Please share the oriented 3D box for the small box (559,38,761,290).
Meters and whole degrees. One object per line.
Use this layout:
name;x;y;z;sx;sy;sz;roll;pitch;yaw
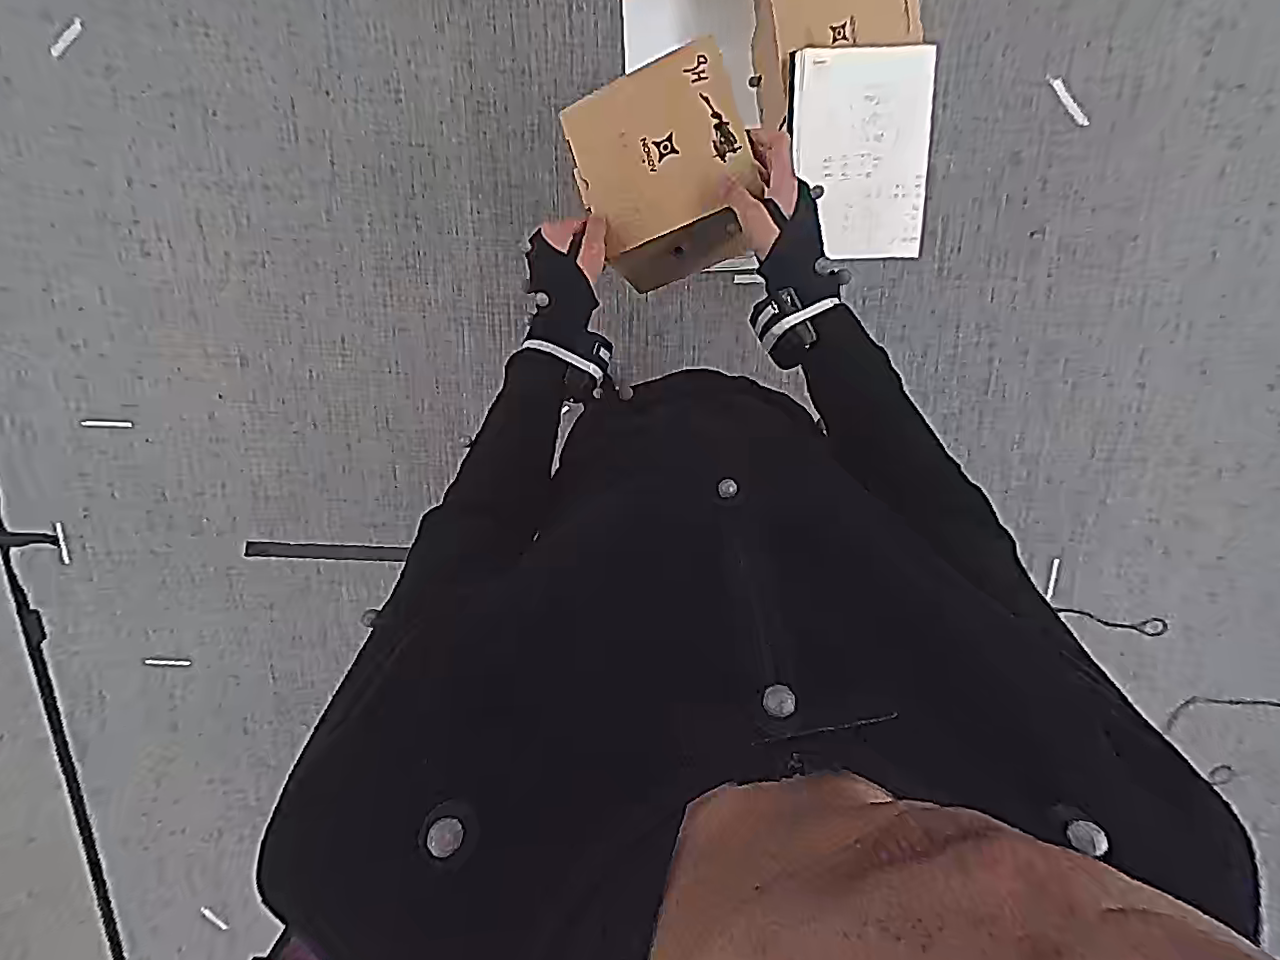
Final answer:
small box;0.034;-0.343;0.633;0.179;0.176;0.168;-18;92;15
